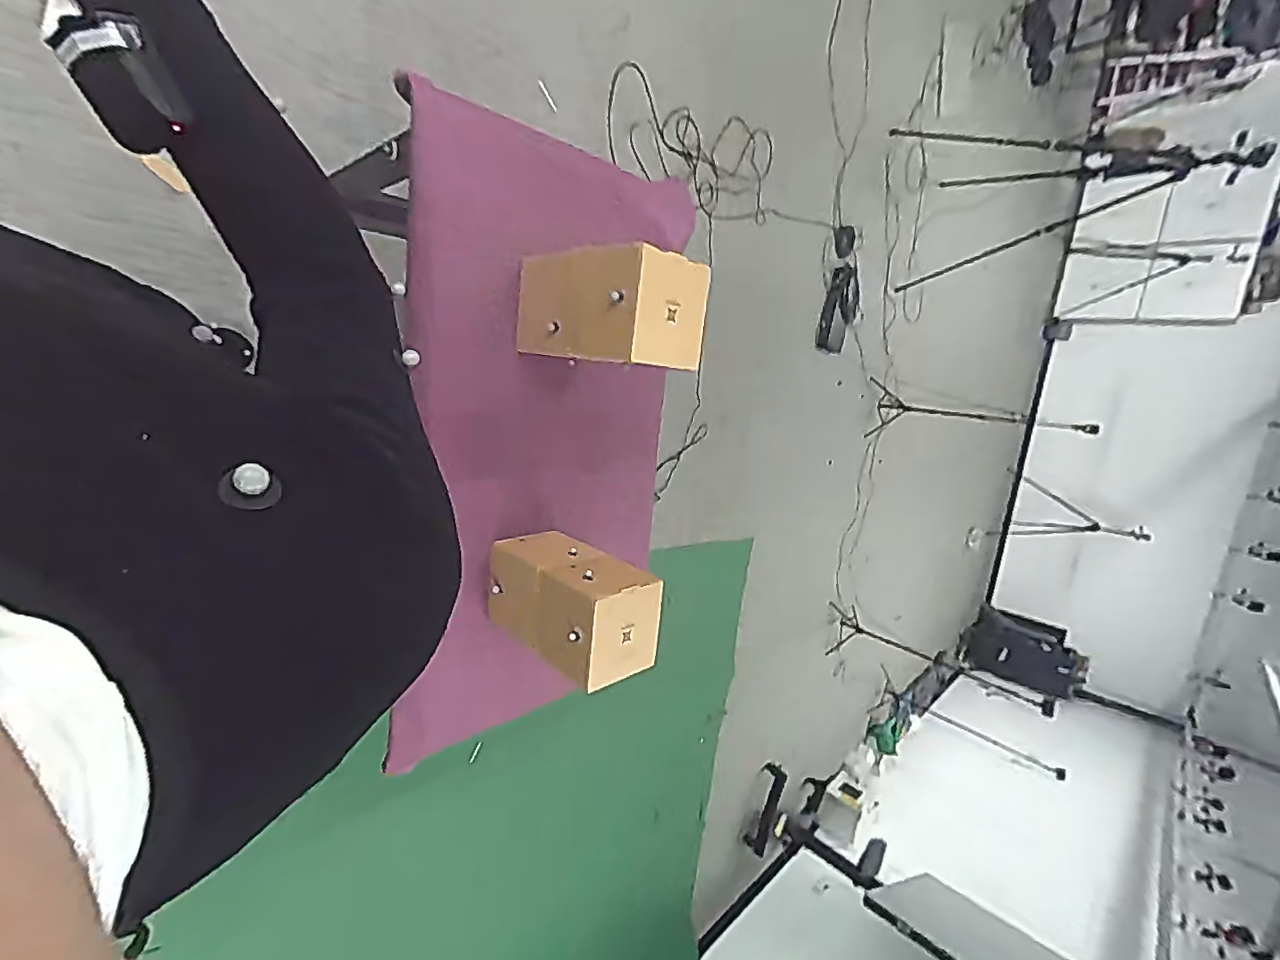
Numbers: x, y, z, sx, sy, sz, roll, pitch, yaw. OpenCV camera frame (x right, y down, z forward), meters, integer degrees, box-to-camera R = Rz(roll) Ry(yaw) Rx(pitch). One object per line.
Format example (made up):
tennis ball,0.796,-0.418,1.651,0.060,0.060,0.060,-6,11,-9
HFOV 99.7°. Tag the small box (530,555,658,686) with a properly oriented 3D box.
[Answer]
small box,-0.090,0.248,1.013,0.168,0.176,0.179,-4,105,-44

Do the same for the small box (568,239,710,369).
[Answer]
small box,-0.007,-0.293,0.923,0.168,0.176,0.179,-4,105,-44

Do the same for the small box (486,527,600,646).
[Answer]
small box,-0.205,0.211,1.124,0.168,0.176,0.179,-6,107,-45

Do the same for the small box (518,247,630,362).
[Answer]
small box,-0.117,-0.329,1.035,0.168,0.176,0.179,-4,105,-45
